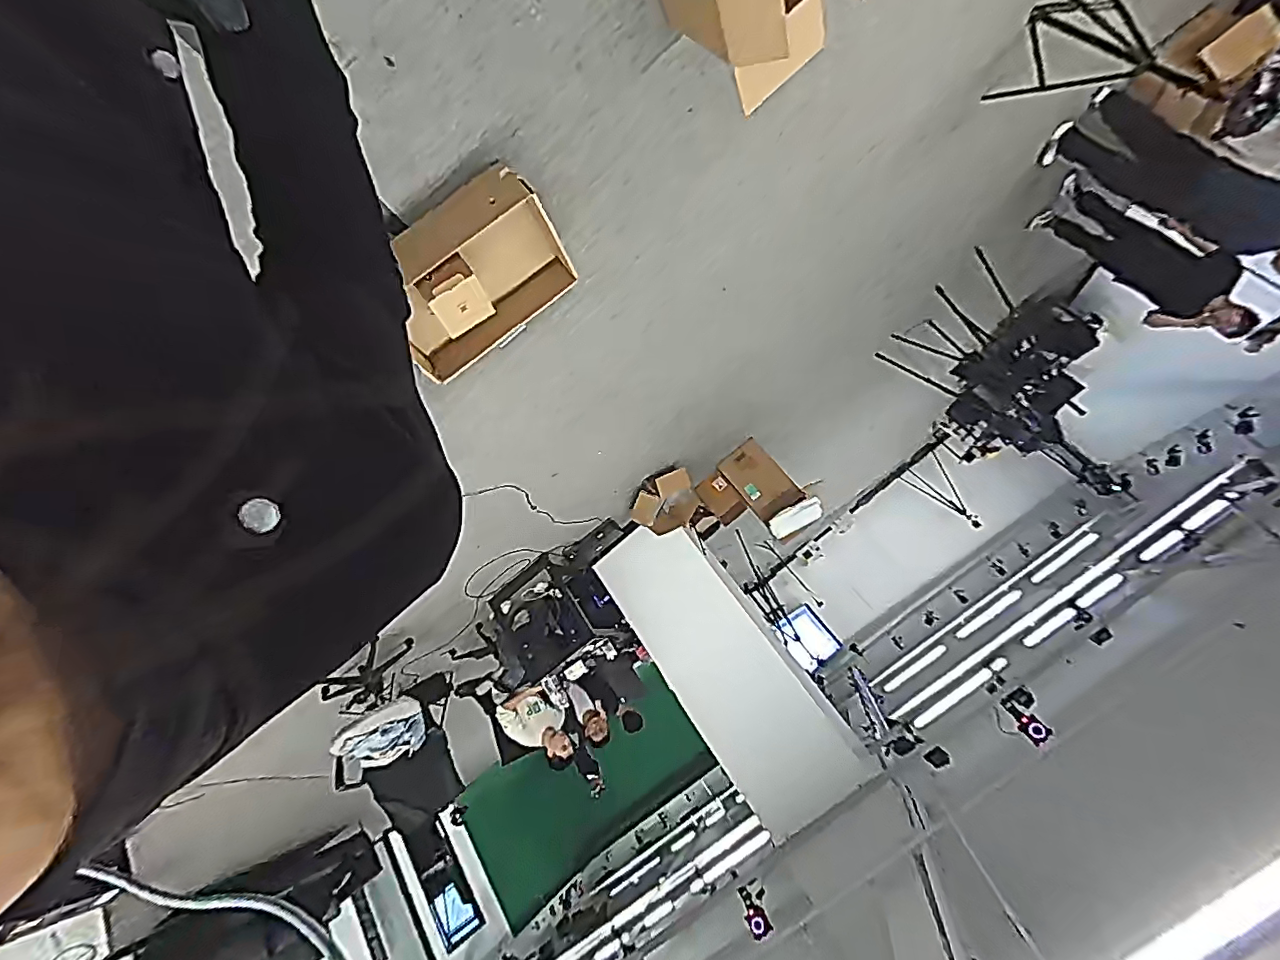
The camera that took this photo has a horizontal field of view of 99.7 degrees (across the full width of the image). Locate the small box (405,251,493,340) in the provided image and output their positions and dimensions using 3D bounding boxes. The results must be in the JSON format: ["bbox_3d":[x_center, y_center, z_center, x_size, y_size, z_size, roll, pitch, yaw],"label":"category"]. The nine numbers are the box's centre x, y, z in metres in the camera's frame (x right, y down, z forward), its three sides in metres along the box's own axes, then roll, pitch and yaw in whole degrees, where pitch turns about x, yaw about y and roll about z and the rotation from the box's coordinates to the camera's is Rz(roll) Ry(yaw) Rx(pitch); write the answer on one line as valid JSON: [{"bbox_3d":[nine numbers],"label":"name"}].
[{"bbox_3d":[-0.595,-0.580,1.683,0.168,0.176,0.179,-35,157,-8],"label":"small box"}]
